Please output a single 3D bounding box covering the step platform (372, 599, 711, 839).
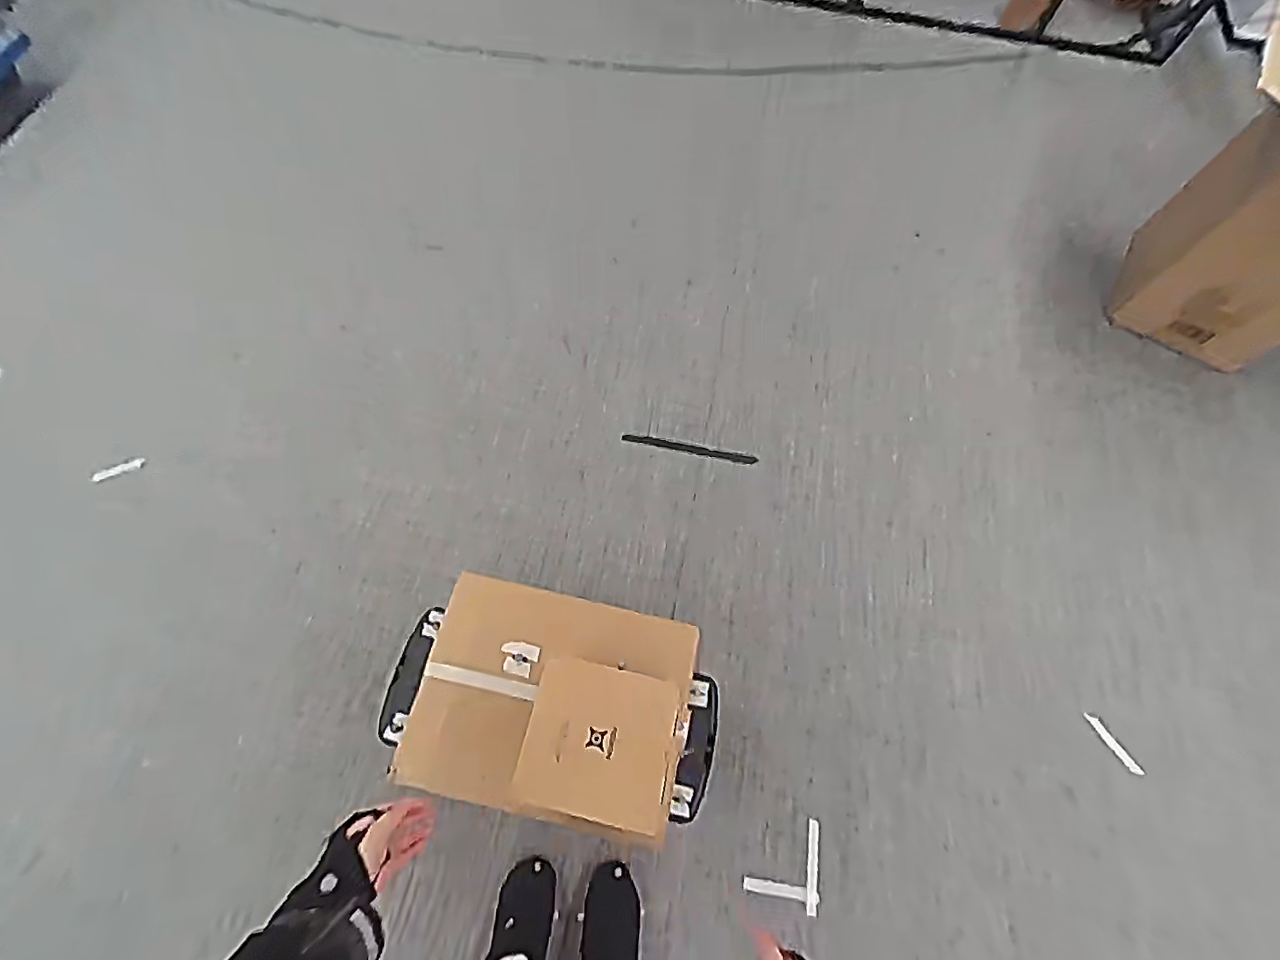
[{"bbox_3d":[-0.196,0.496,1.158,0.684,0.204,0.286,17,66,6],"label":"step platform"}]

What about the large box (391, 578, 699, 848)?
[{"bbox_3d":[-0.130,0.393,0.946,0.408,0.320,0.320,12,65,4],"label":"large box"}]

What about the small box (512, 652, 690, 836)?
[{"bbox_3d":[-0.044,0.334,0.706,0.179,0.176,0.168,13,66,4],"label":"small box"}]
